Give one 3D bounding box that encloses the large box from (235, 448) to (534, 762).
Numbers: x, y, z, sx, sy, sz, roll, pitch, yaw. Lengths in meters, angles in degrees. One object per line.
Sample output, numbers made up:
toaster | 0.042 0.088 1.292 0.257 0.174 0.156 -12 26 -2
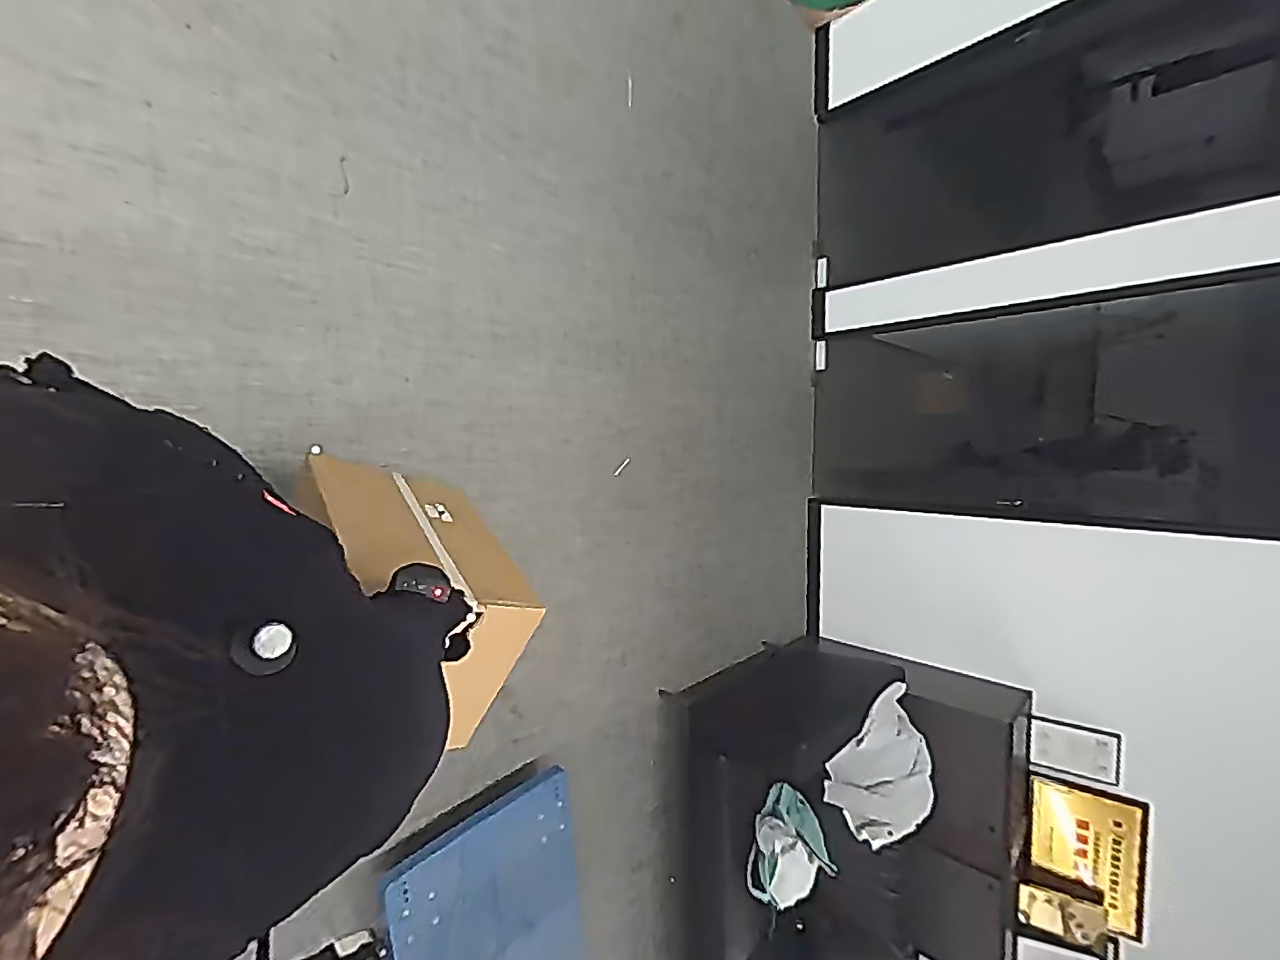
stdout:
large box | -0.461 0.200 0.948 0.320 0.408 0.320 20 105 -48
